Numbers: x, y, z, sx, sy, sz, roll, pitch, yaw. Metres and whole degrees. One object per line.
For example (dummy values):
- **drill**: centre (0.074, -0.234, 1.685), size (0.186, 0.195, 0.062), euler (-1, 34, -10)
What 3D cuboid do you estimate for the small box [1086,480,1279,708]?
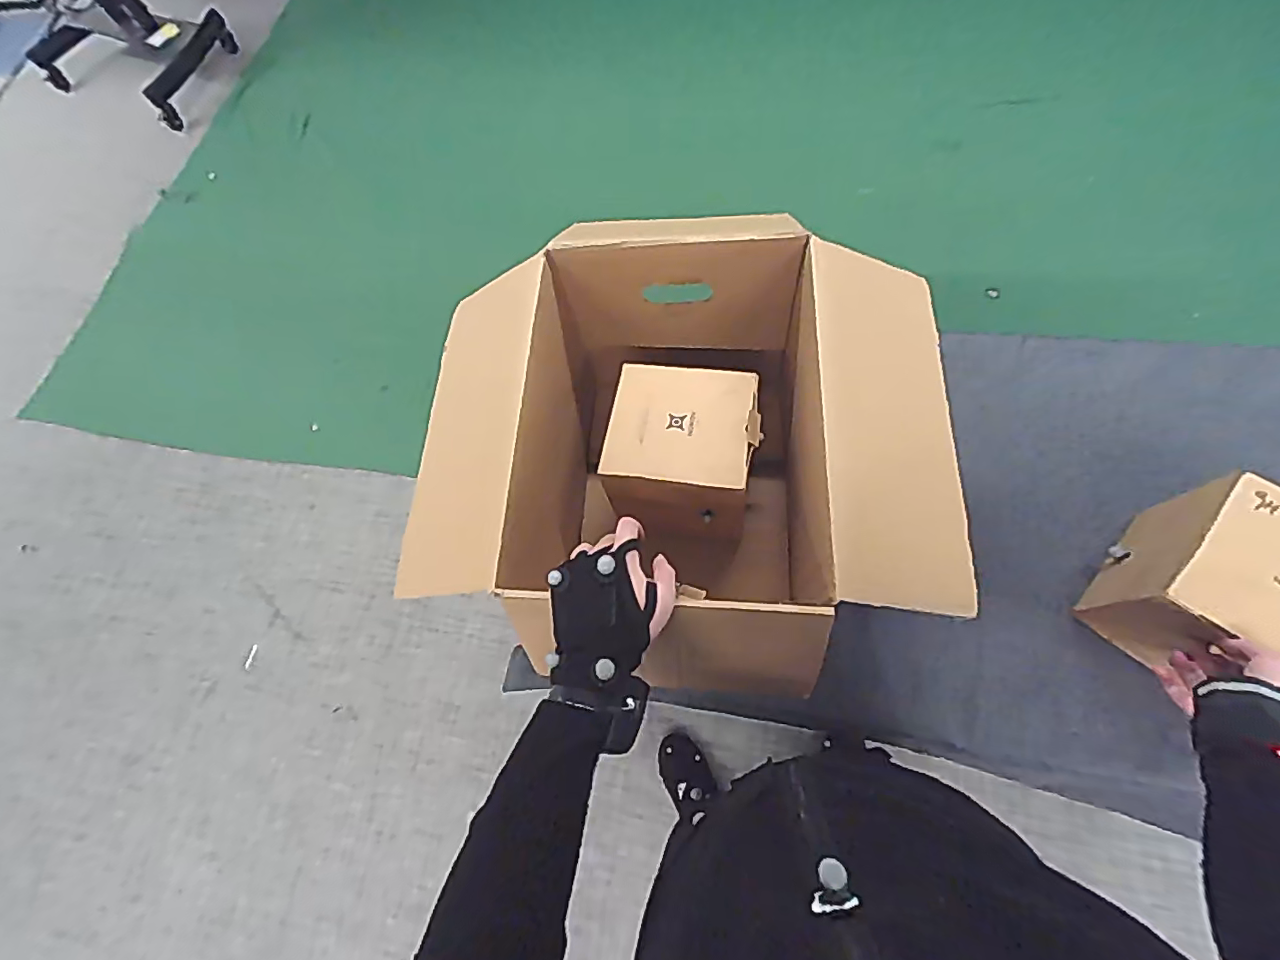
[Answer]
- **small box**: centre (0.661, 0.137, 0.609), size (0.168, 0.176, 0.179), euler (39, 80, 21)
